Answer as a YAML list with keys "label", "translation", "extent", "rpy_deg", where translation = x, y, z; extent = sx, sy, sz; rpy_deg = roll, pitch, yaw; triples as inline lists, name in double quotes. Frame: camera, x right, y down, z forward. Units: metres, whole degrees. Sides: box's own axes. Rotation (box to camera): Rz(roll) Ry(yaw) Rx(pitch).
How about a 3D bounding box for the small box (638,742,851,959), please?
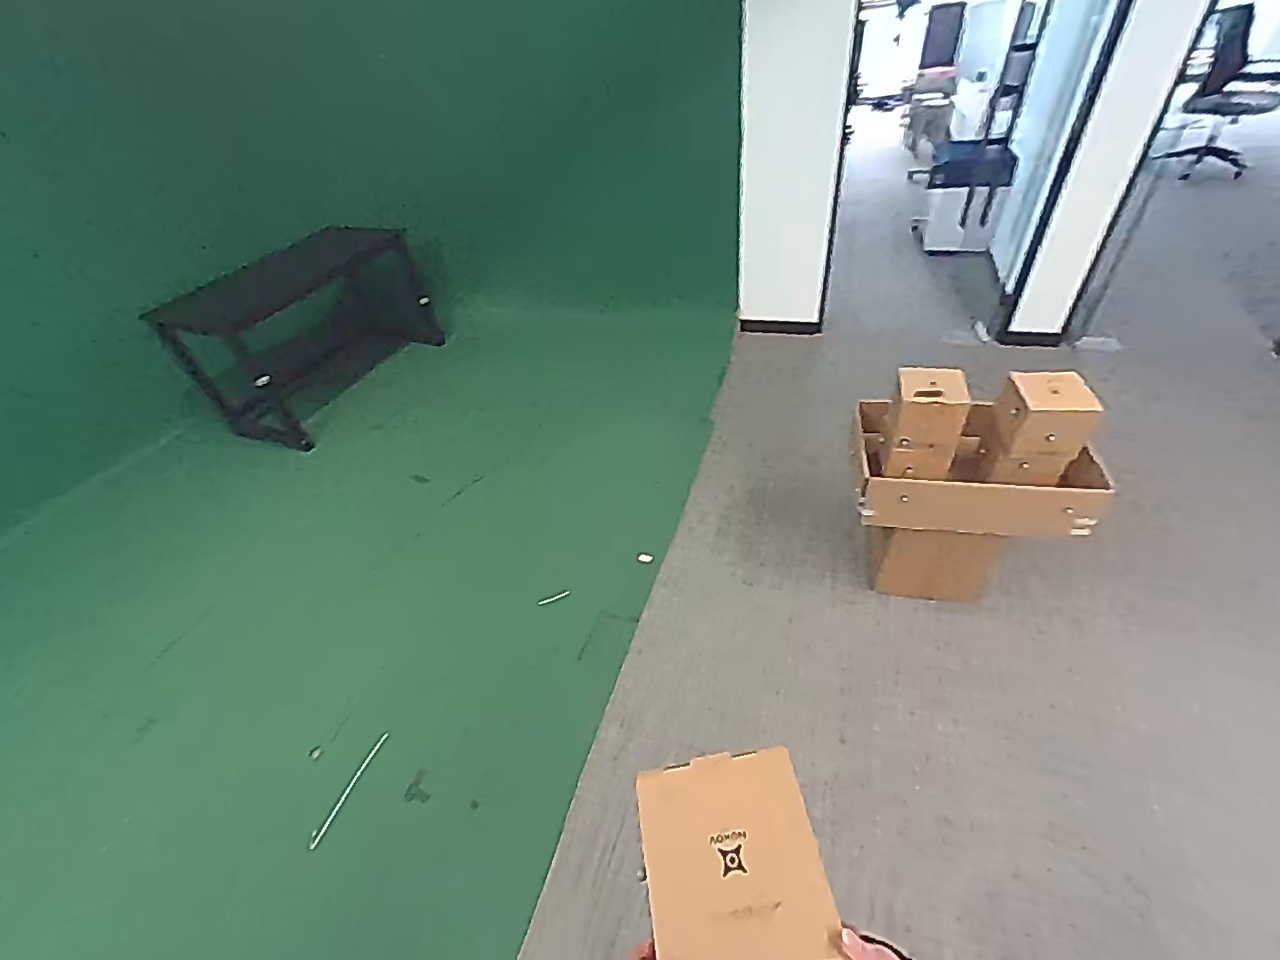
- label: "small box"
  translation: [0.093, 0.400, 0.560]
  extent: [0.168, 0.176, 0.179]
  rpy_deg: [-9, 46, 0]

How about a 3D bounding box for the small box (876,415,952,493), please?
- label: "small box"
  translation: [0.825, -0.079, 1.644]
  extent: [0.168, 0.176, 0.179]
  rpy_deg: [3, 43, 13]

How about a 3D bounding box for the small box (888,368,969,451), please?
- label: "small box"
  translation: [0.810, -0.199, 1.534]
  extent: [0.168, 0.176, 0.179]
  rpy_deg: [7, 43, 16]

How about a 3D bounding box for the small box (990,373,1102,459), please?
- label: "small box"
  translation: [1.082, -0.172, 1.459]
  extent: [0.168, 0.176, 0.179]
  rpy_deg: [3, 44, 10]
